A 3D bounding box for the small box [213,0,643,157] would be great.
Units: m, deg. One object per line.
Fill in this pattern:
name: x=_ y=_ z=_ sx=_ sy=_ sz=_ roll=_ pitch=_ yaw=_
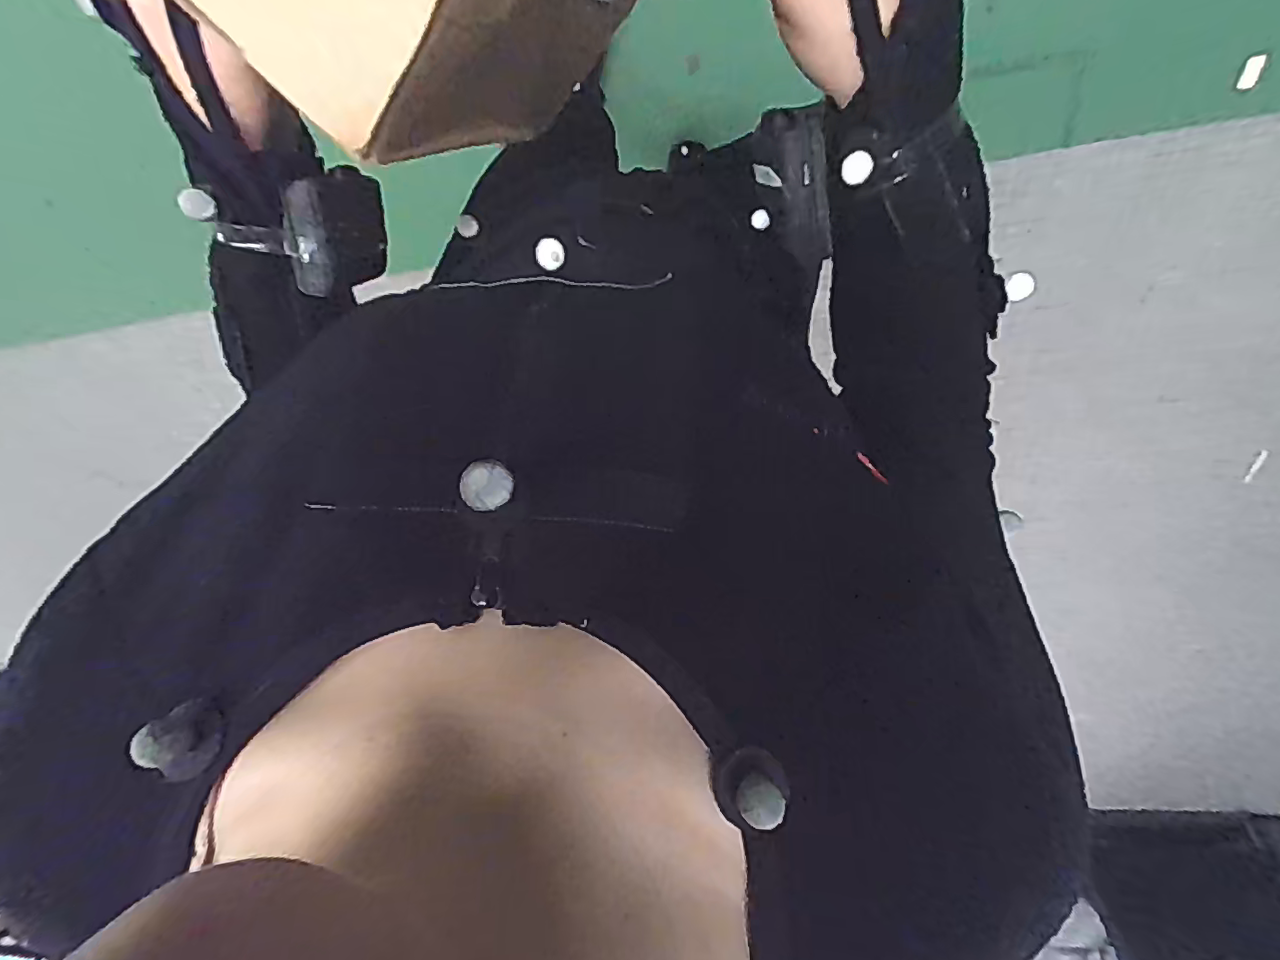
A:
small box: x=-0.057 y=-0.231 z=0.152 sx=0.168 sy=0.176 sz=0.179 roll=41 pitch=121 yaw=-19
